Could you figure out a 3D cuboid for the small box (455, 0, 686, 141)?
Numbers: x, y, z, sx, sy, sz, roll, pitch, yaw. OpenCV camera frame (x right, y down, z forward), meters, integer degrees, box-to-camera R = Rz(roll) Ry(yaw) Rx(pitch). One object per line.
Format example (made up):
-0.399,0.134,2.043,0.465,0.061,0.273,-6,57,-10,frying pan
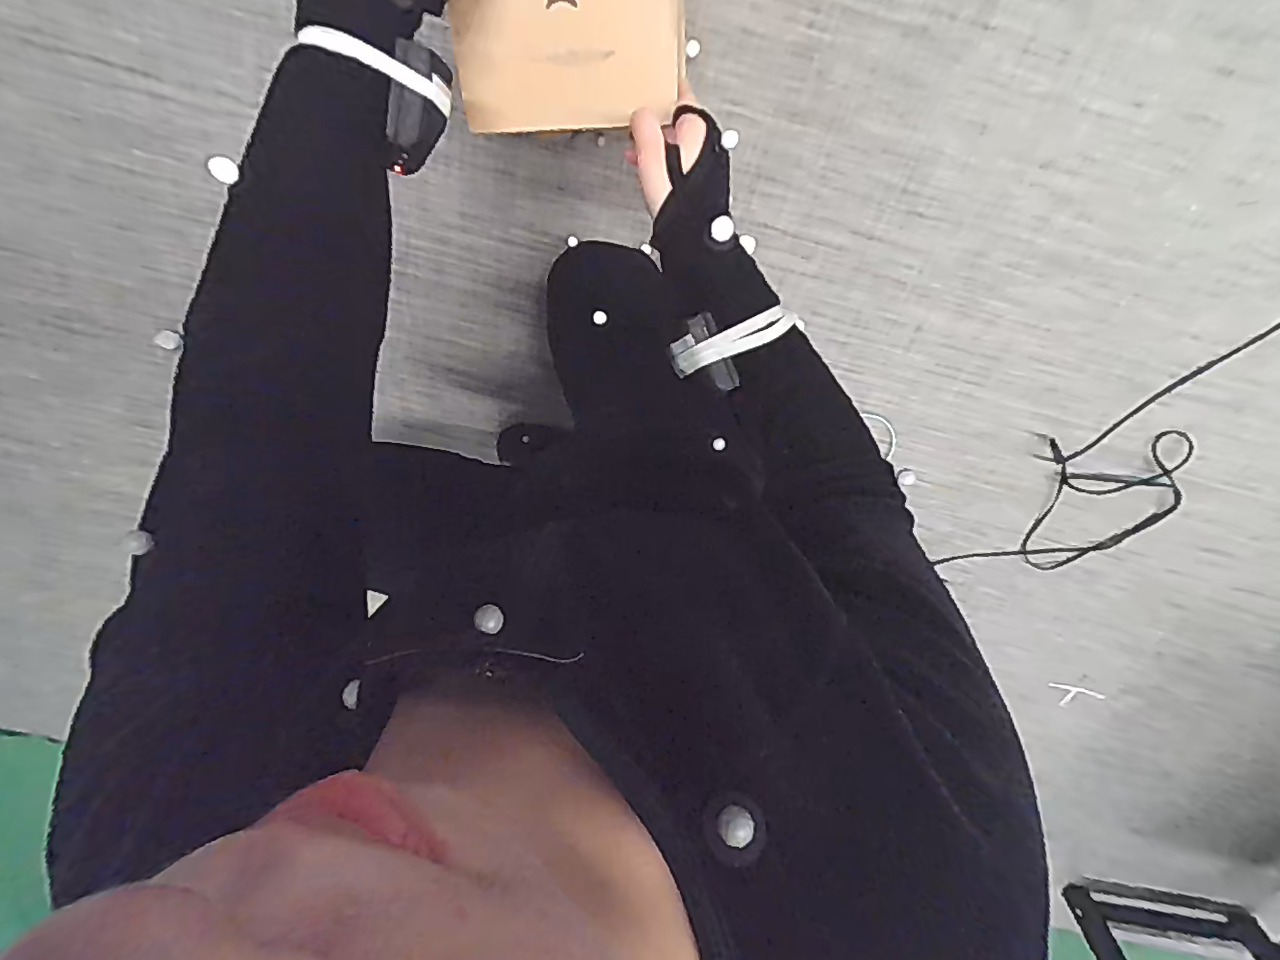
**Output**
-0.047,-0.386,0.447,0.168,0.176,0.179,1,123,4,small box
